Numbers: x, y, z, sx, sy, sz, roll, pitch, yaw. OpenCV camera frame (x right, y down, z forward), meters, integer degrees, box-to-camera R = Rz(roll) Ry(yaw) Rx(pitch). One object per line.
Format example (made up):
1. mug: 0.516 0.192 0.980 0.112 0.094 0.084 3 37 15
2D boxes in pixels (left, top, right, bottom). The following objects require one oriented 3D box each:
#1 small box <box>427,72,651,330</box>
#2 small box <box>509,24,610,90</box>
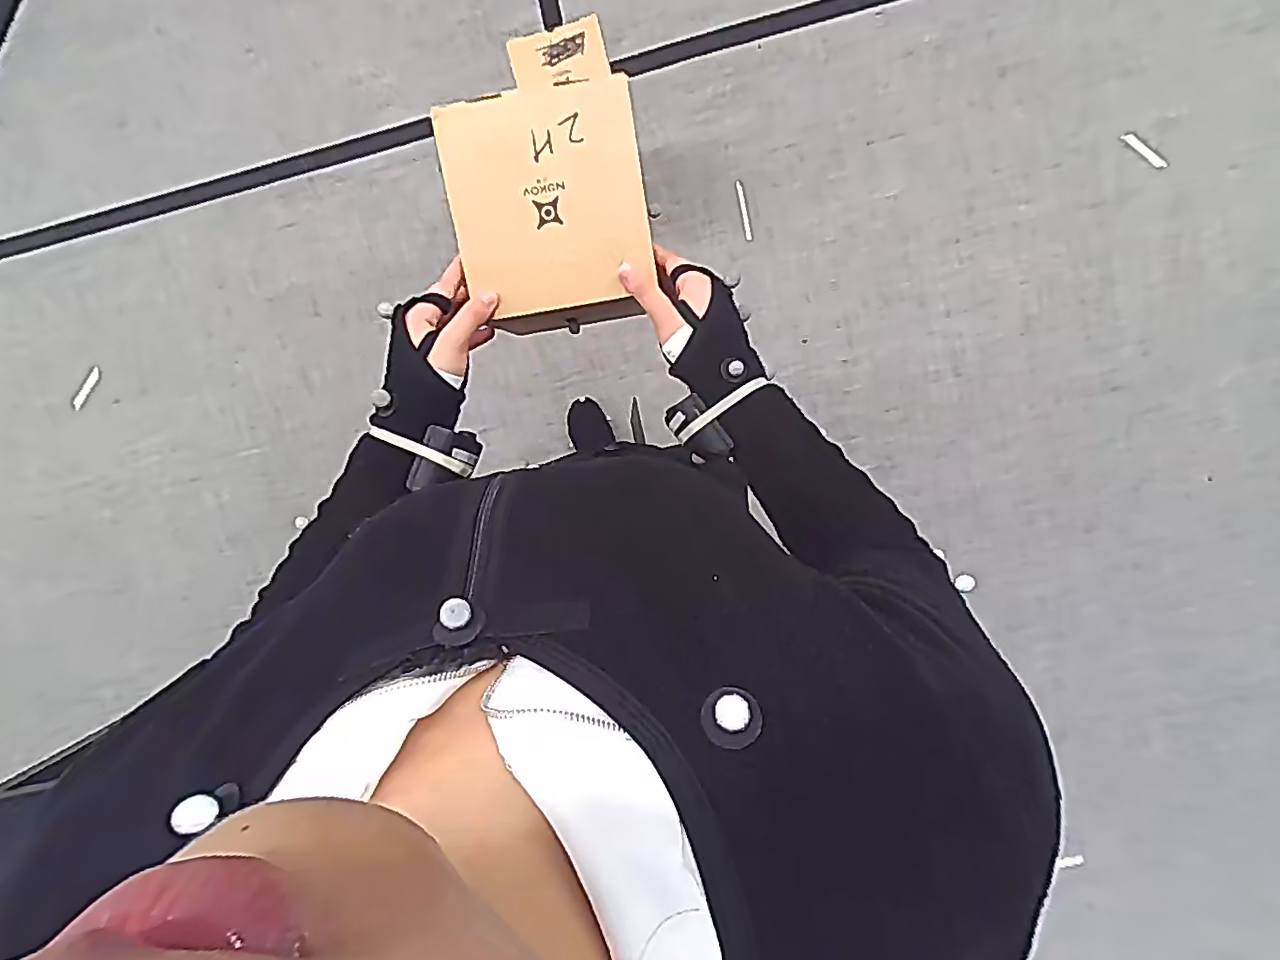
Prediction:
1. small box: -0.081 -0.250 0.535 0.168 0.176 0.179 -10 100 2
2. small box: -0.129 -0.691 1.020 0.168 0.176 0.179 -15 95 3
